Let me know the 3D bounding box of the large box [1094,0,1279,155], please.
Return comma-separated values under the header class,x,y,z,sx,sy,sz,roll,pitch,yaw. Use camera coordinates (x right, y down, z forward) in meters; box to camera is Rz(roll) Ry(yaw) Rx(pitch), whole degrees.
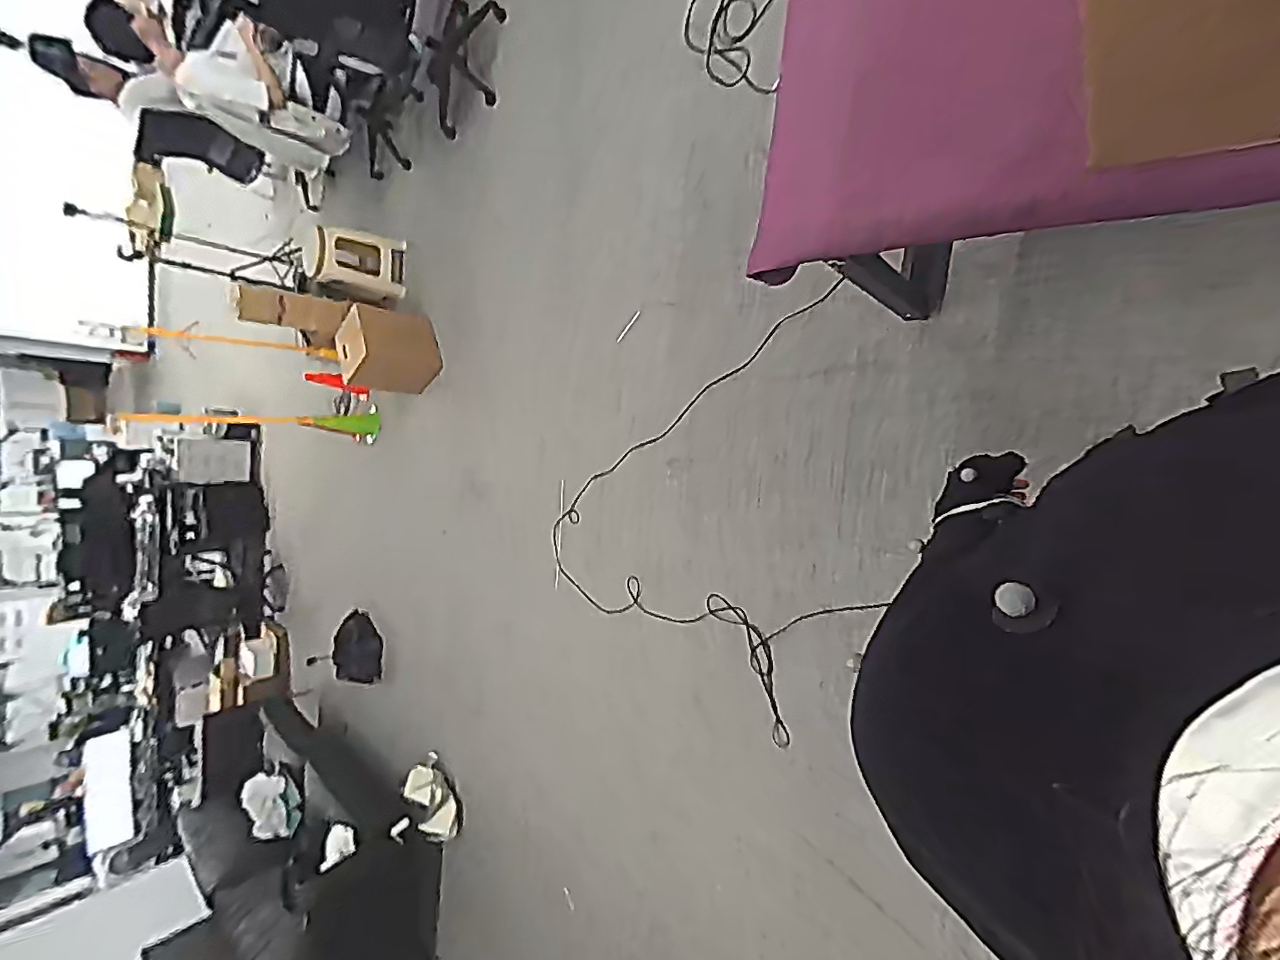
class,x,y,z,sx,sy,sz,roll,pitch,yaw
large box,0.556,-0.526,0.375,0.320,0.320,0.408,14,100,40
